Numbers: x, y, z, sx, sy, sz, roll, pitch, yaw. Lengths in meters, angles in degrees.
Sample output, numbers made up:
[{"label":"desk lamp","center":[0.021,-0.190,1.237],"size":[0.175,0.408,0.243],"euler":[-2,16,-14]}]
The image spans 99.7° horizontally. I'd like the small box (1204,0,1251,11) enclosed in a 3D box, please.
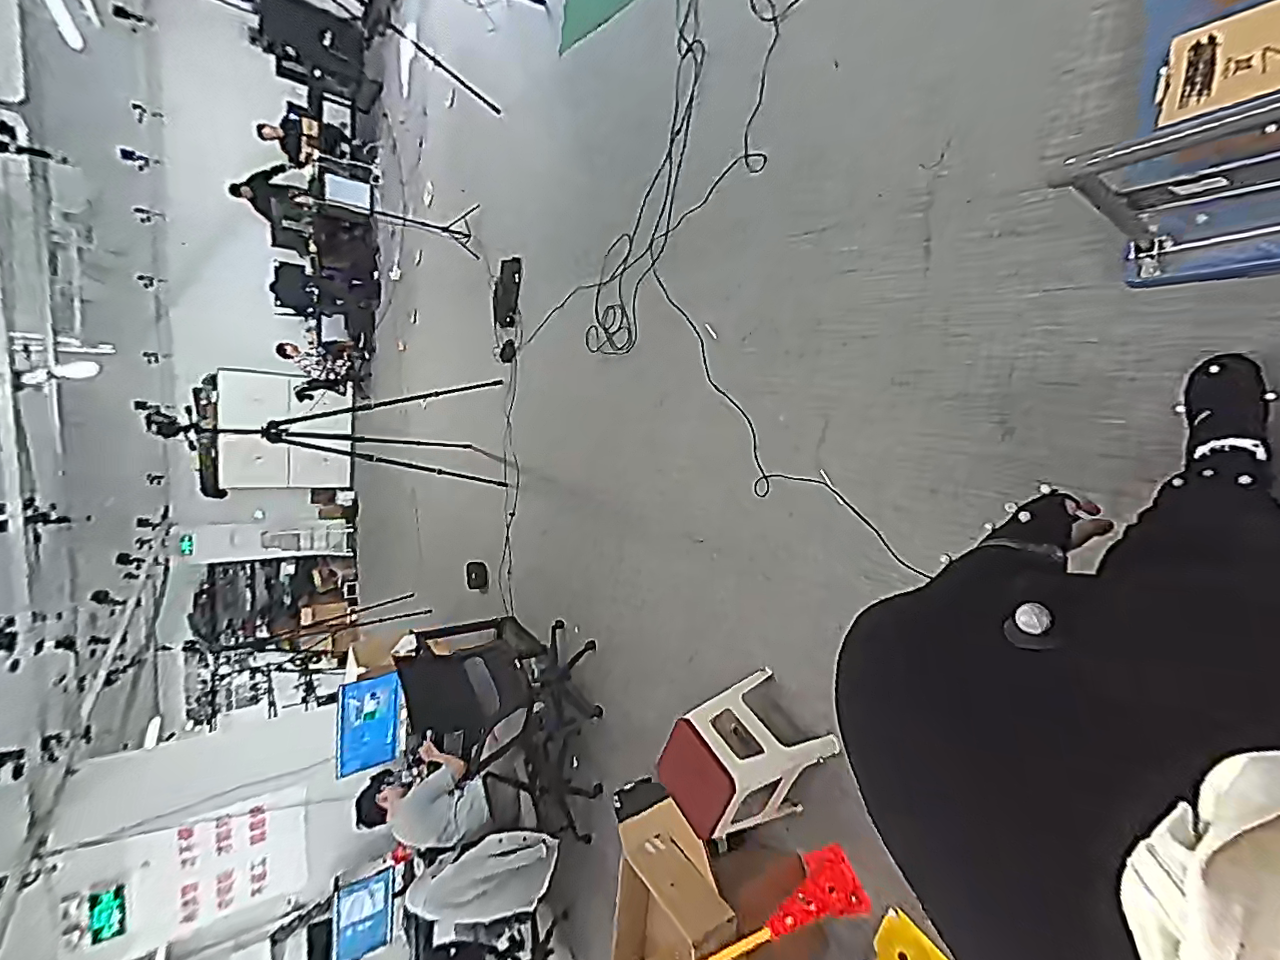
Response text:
[{"label":"small box","center":[1.058,-0.941,0.901],"size":[0.168,0.176,0.179],"euler":[2,92,52]}]
